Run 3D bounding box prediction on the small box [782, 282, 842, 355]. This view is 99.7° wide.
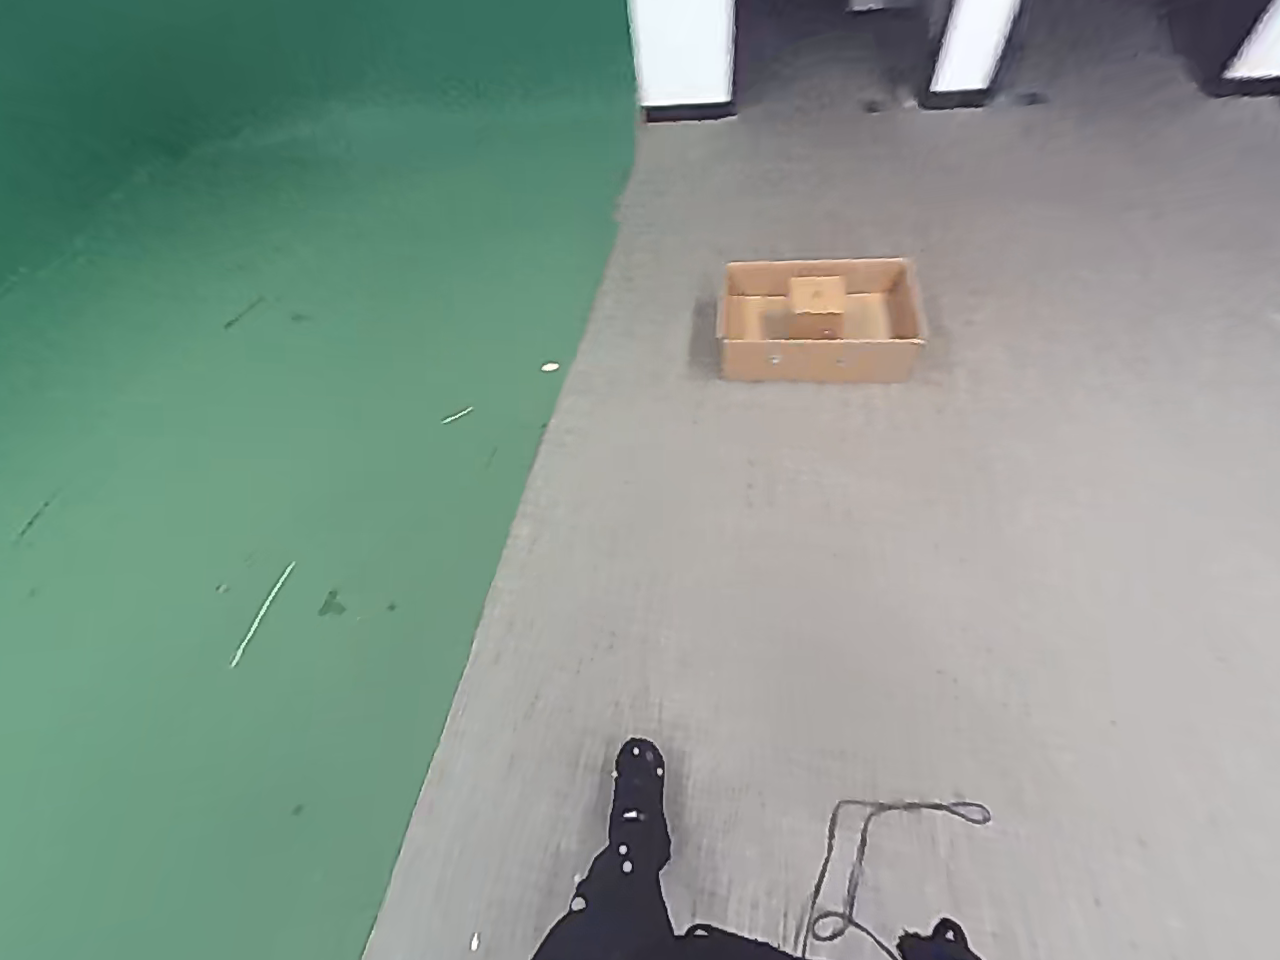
[{"bbox_3d":[0.568,-0.536,1.804,0.168,0.176,0.179,2,55,8],"label":"small box"}]
